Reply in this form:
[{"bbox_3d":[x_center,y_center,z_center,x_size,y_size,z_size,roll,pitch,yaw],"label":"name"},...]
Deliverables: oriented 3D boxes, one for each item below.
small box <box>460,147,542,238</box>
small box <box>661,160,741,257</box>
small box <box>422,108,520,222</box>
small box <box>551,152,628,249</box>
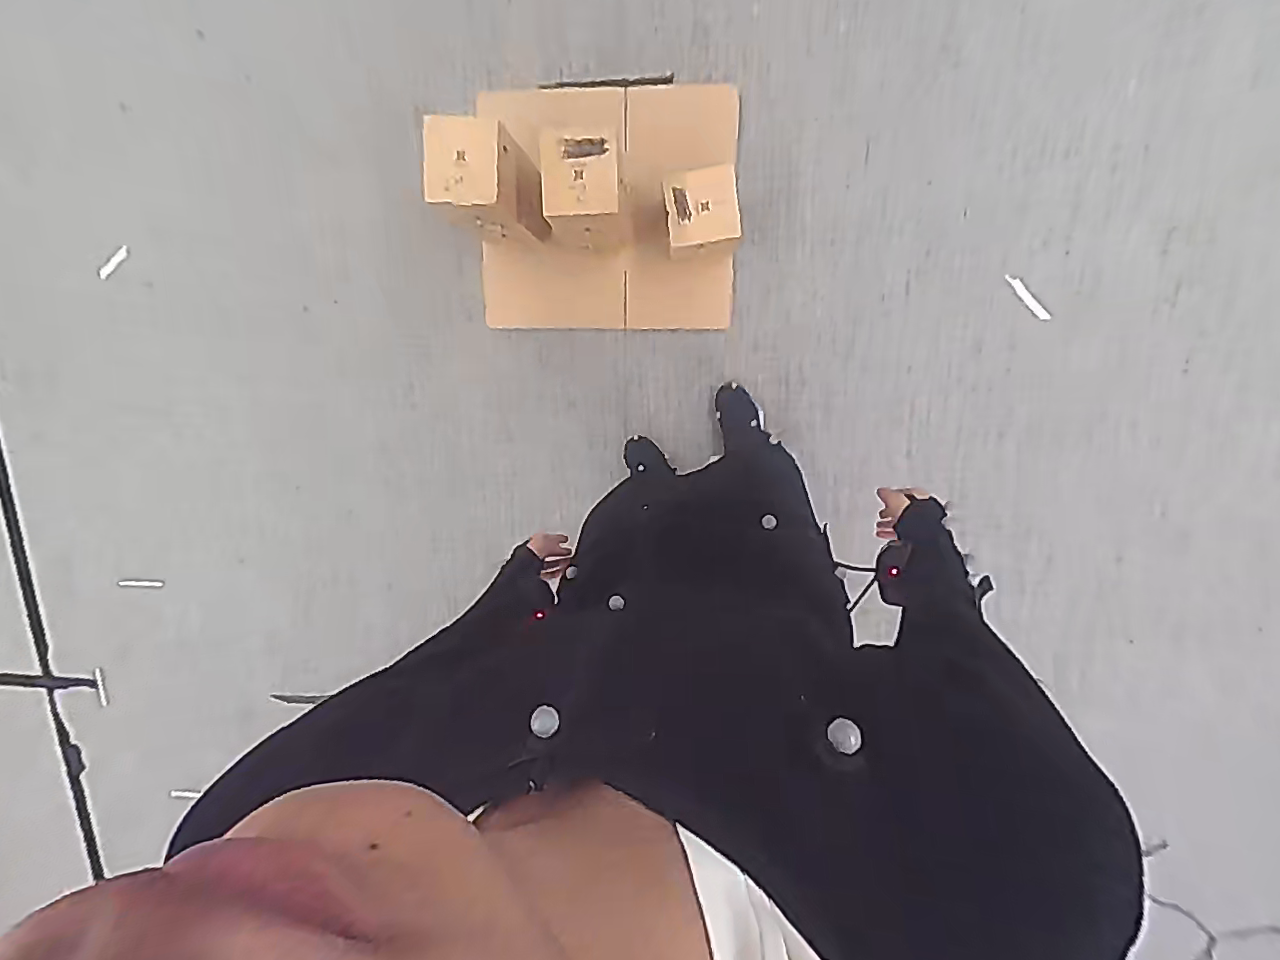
[{"bbox_3d":[-0.353,-0.729,1.386,0.168,0.176,0.179,4,102,4],"label":"small box"},{"bbox_3d":[0.152,-0.671,1.358,0.179,0.176,0.168,-7,101,6],"label":"small box"},{"bbox_3d":[-0.376,-0.704,1.224,0.168,0.176,0.179,5,102,4],"label":"small box"},{"bbox_3d":[-0.124,-0.703,1.373,0.168,0.176,0.179,5,102,4],"label":"small box"}]
